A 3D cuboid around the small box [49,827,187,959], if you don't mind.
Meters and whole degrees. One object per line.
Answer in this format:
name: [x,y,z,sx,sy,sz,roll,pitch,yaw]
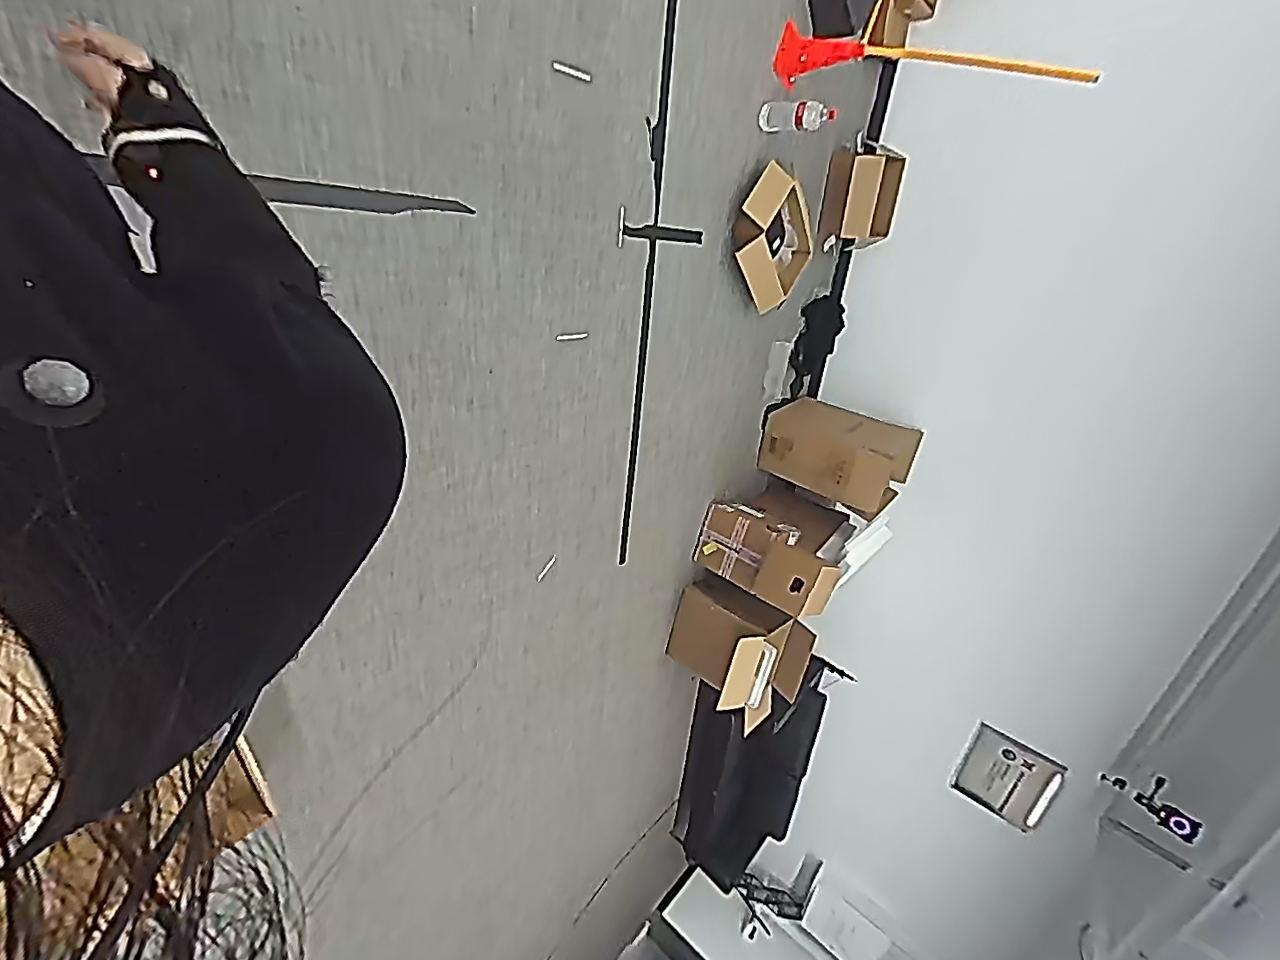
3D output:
small box: [-1.158,0.928,1.204,0.168,0.176,0.179,-28,131,-43]
